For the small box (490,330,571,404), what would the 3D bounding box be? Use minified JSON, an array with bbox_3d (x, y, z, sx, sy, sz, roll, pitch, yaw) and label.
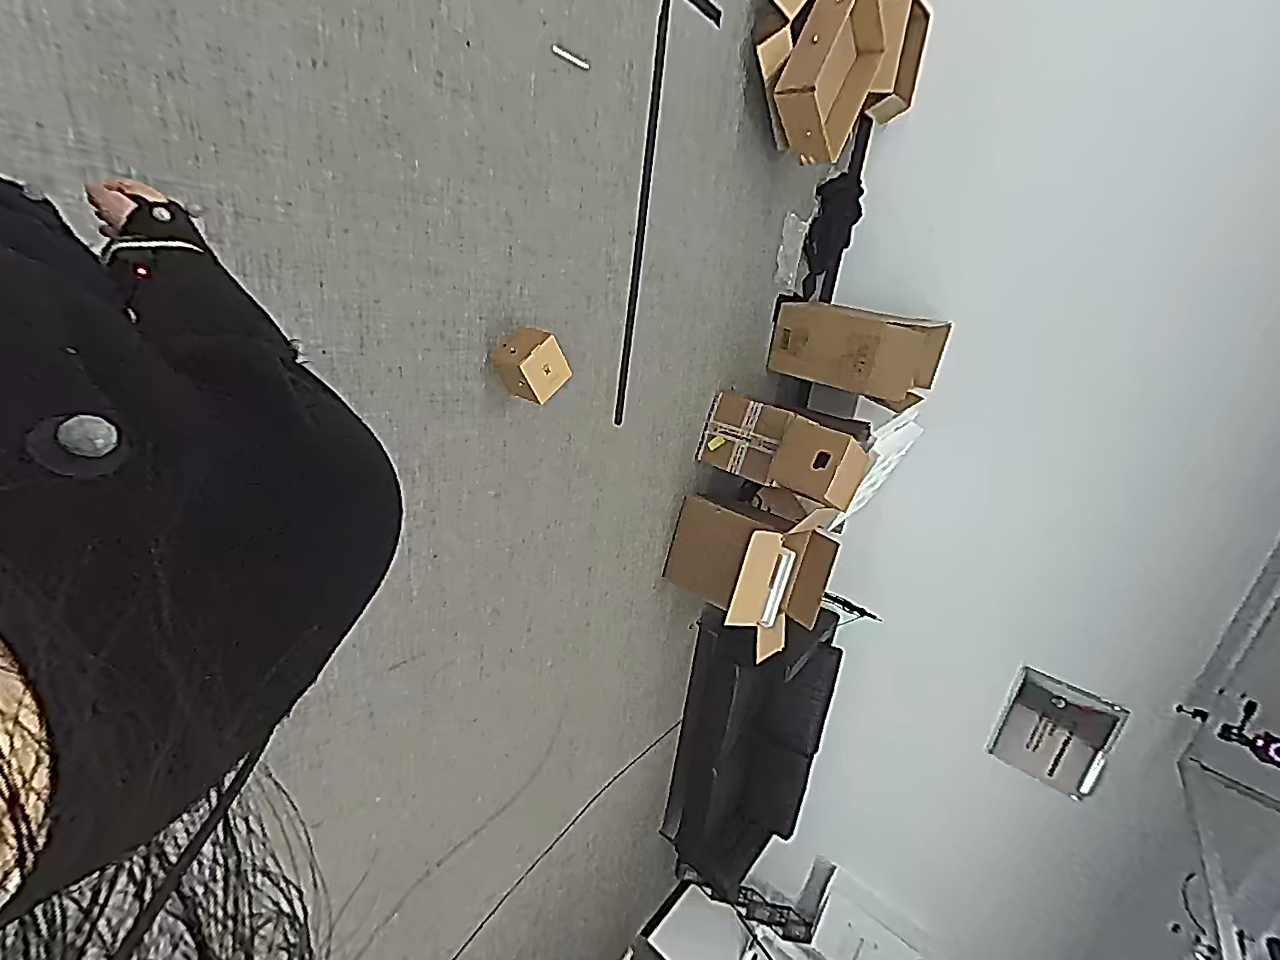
[{"bbox_3d":[-0.370,-0.386,1.823,0.168,0.176,0.179,-51,143,-22],"label":"small box"}]
